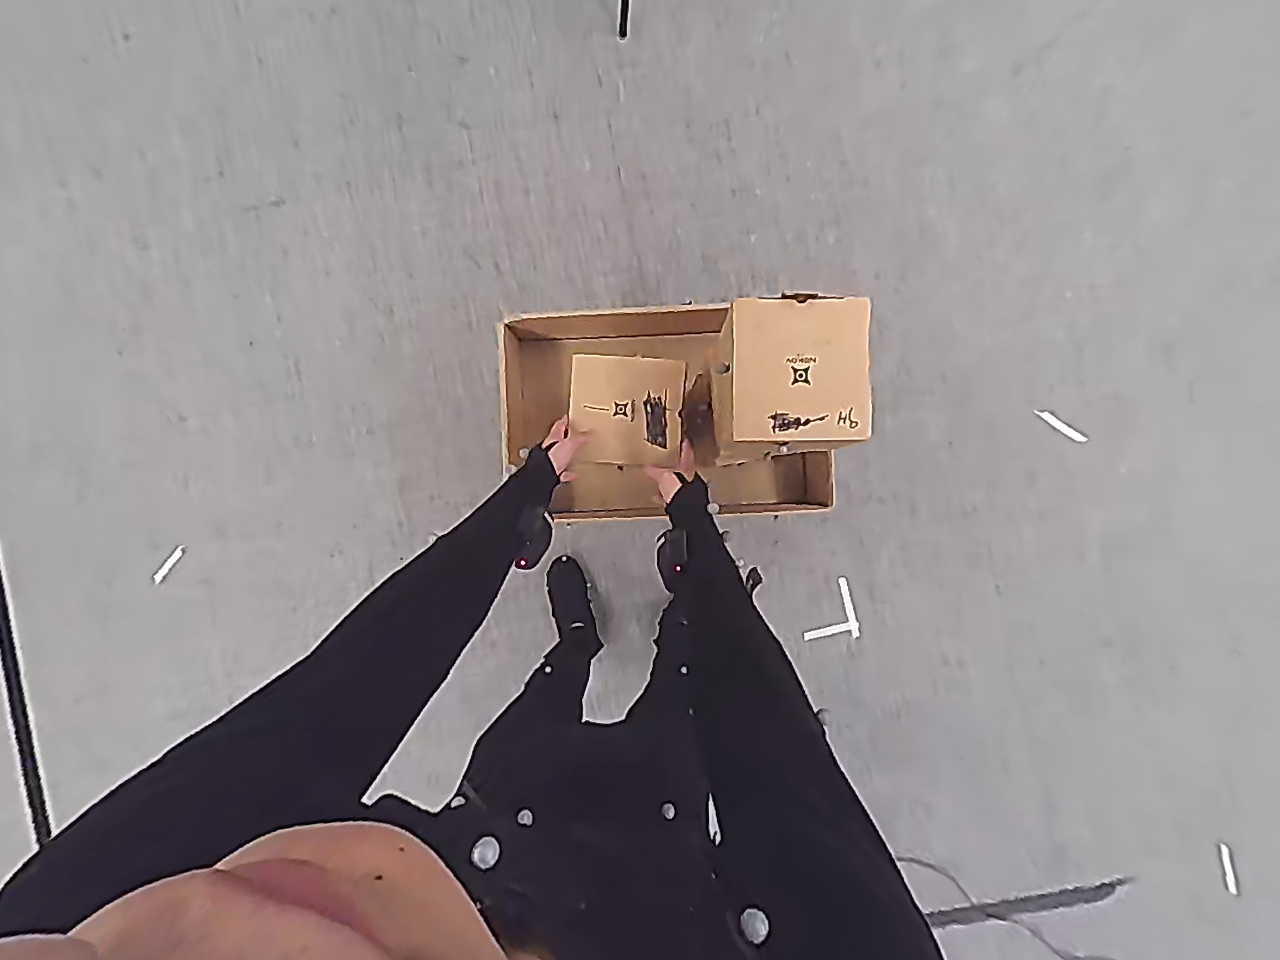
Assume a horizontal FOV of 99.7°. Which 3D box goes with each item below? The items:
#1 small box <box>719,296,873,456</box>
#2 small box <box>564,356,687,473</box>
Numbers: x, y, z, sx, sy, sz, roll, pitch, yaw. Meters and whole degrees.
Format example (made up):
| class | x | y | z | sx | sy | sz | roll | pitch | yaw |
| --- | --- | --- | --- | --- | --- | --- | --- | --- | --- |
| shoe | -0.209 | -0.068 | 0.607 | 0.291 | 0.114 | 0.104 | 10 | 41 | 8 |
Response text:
| class | x | y | z | sx | sy | sz | roll | pitch | yaw |
| --- | --- | --- | --- | --- | --- | --- | --- | --- | --- |
| small box | 0.195 | -0.127 | 0.717 | 0.168 | 0.176 | 0.179 | 0 | 88 | 3 |
| small box | -0.020 | -0.099 | 0.888 | 0.179 | 0.176 | 0.168 | 4 | 90 | 2 |
